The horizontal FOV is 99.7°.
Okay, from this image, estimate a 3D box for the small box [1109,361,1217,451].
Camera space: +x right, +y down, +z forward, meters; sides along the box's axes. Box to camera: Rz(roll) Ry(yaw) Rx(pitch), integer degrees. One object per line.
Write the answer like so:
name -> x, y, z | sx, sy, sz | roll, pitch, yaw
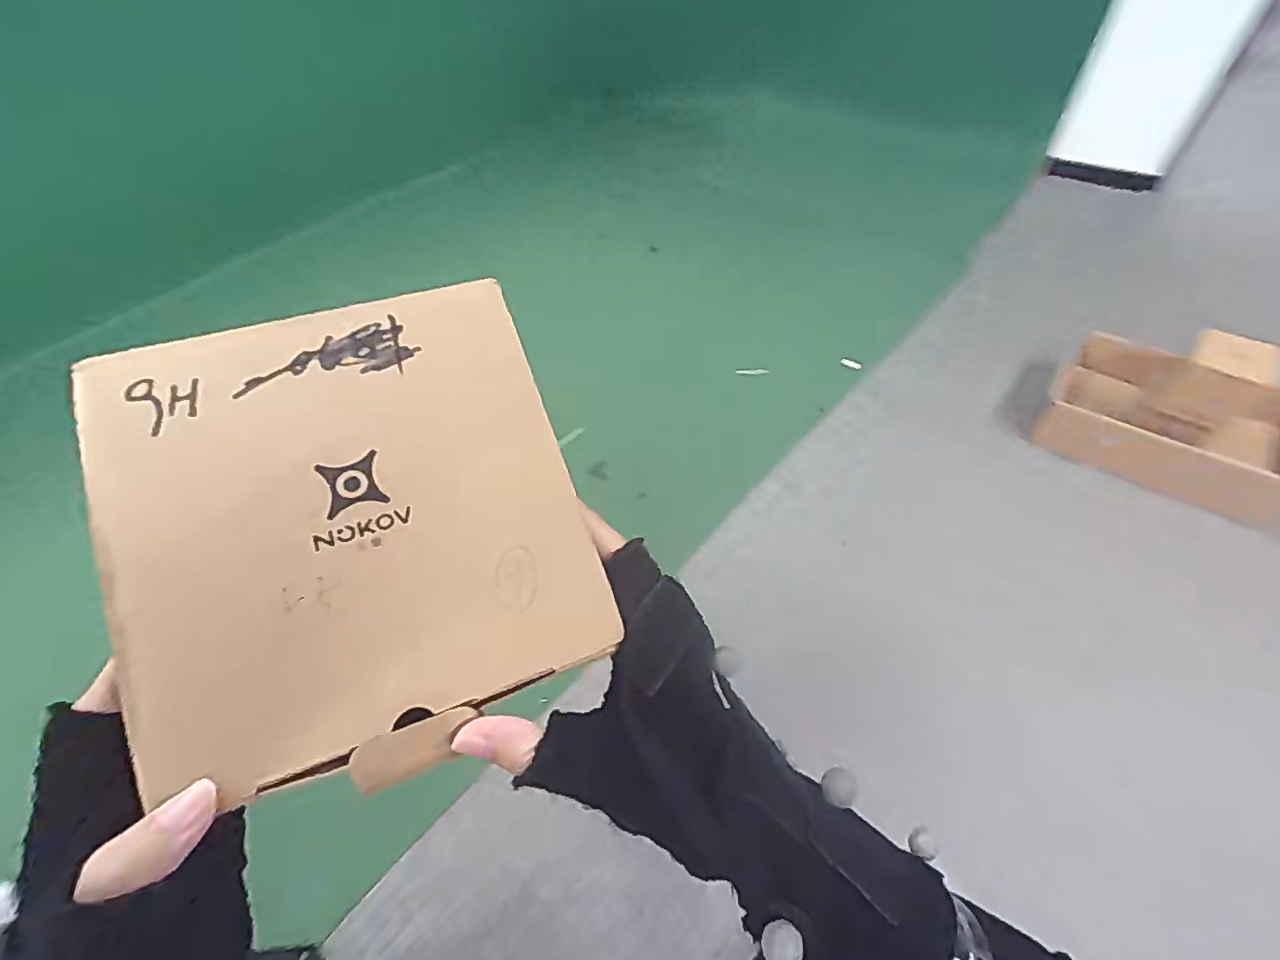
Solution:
small box -> 1.536, -0.210, 1.580 | 0.179, 0.176, 0.168 | 31, 61, 29
